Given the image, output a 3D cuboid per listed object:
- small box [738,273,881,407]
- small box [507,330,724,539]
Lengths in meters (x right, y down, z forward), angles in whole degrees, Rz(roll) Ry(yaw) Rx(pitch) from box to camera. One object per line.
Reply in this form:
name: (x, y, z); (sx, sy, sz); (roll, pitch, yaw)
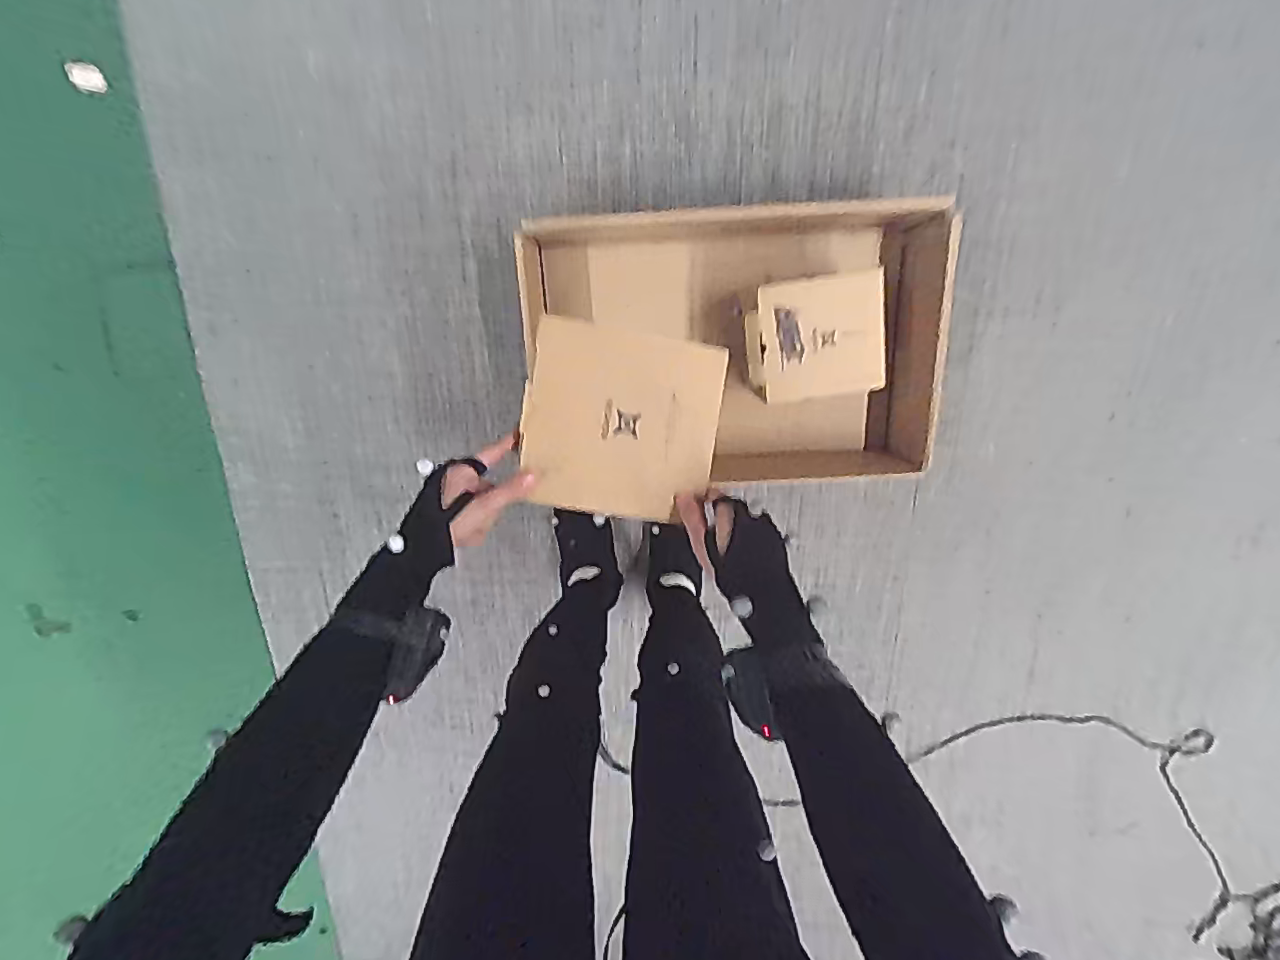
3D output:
small box: (0.254, -0.218, 0.845); (0.179, 0.176, 0.168); (-9, 107, 3)
small box: (-0.031, -0.040, 0.560); (0.179, 0.176, 0.168); (9, 91, -9)
